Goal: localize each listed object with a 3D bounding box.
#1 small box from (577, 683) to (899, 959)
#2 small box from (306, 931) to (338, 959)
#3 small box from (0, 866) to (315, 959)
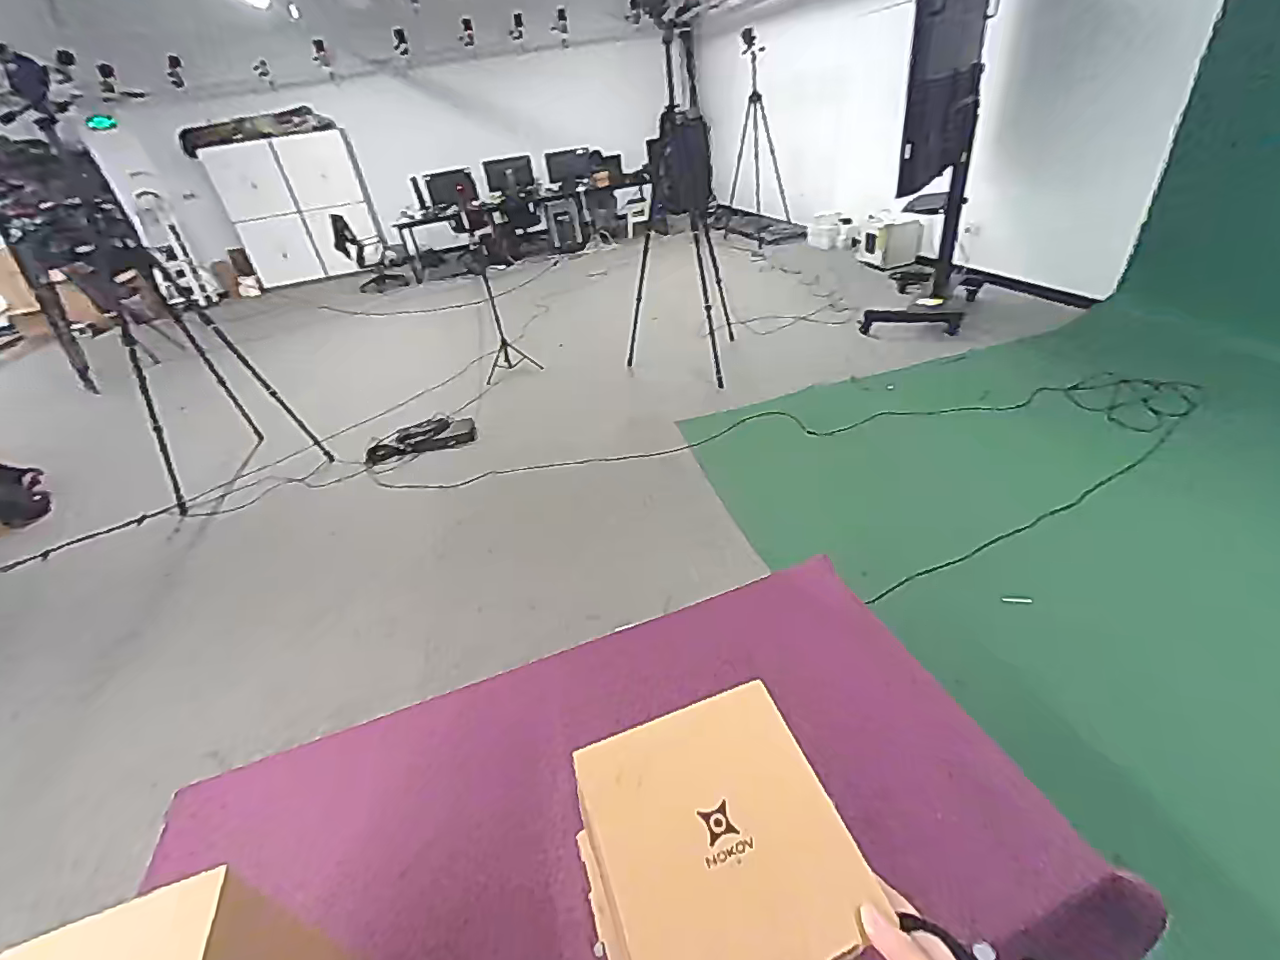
[{"bbox_3d":[0.054,0.299,0.424,0.168,0.176,0.179,-15,46,-15],"label":"small box"},{"bbox_3d":[-0.378,0.600,0.526,0.168,0.176,0.179,-16,34,-11],"label":"small box"},{"bbox_3d":[-0.401,0.466,0.434,0.179,0.176,0.168,-17,35,-12],"label":"small box"}]
